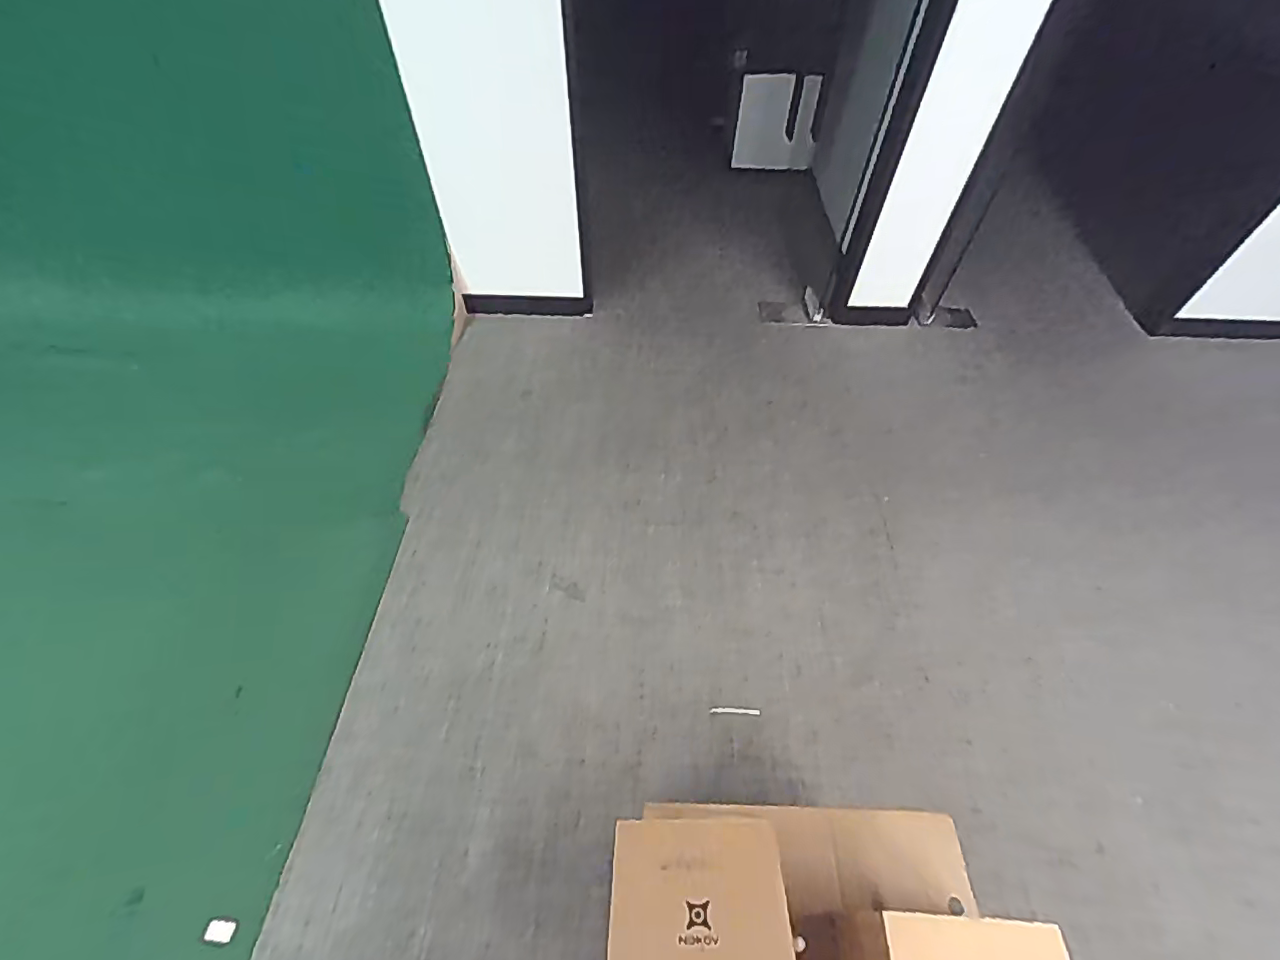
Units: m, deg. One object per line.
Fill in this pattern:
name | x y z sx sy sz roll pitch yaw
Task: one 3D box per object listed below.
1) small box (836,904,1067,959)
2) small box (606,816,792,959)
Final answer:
small box | 0.304 0.531 0.527 0.168 0.176 0.179 3 54 3
small box | 0.061 0.467 0.538 0.168 0.176 0.179 -3 34 5
